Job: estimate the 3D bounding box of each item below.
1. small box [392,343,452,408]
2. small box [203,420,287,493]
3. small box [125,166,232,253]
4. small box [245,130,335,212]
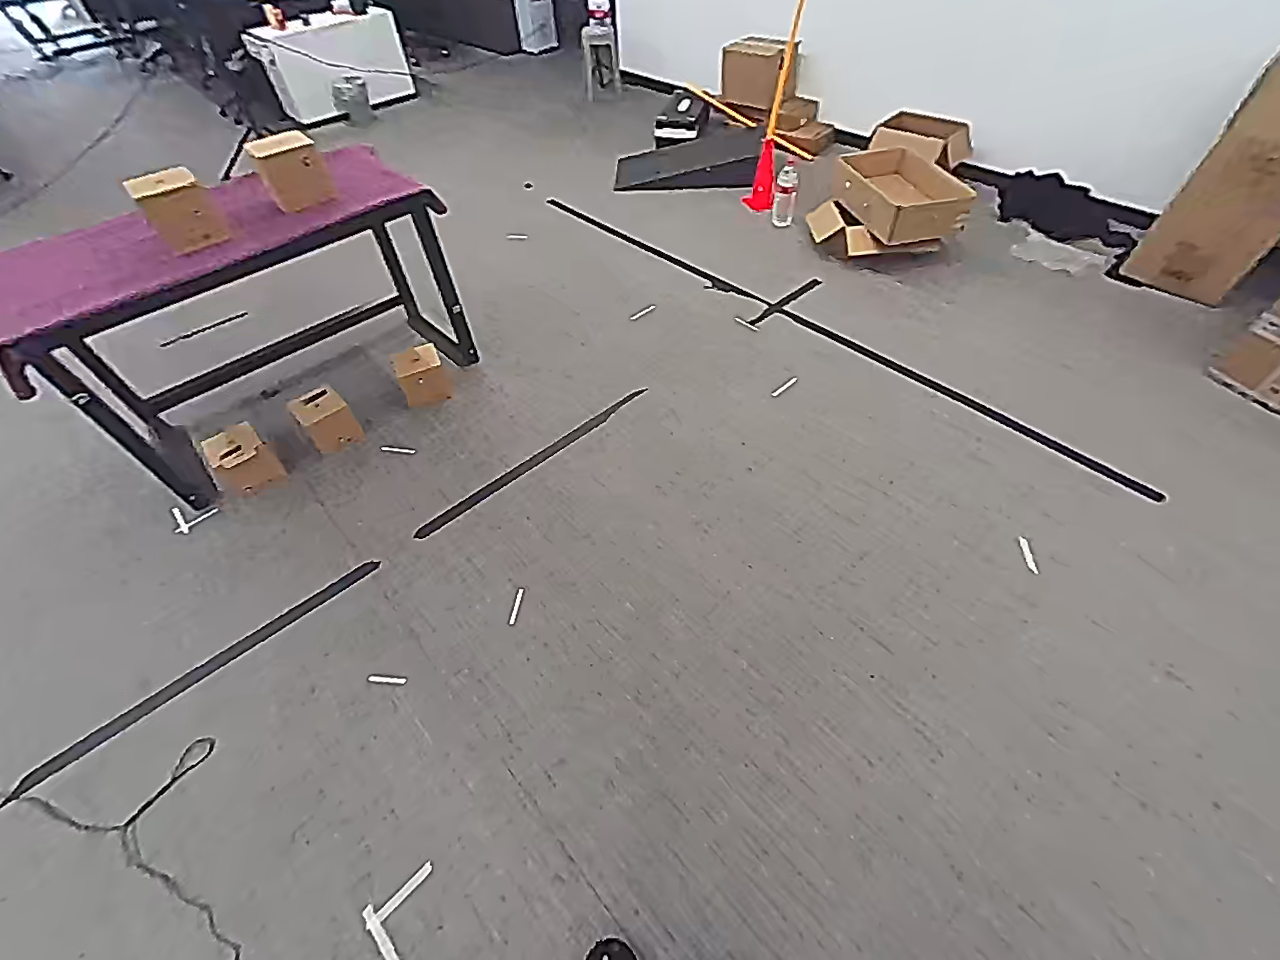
[{"bbox_3d":[-0.889,-0.428,2.218,0.179,0.176,0.168,-23,54,-13],"label":"small box"},{"bbox_3d":[-1.425,-0.077,1.959,0.168,0.176,0.179,-36,56,-23],"label":"small box"},{"bbox_3d":[-1.361,-0.797,1.603,0.168,0.176,0.179,-35,55,-24],"label":"small box"},{"bbox_3d":[-1.124,-1.003,1.756,0.179,0.176,0.168,-35,56,-23],"label":"small box"}]
